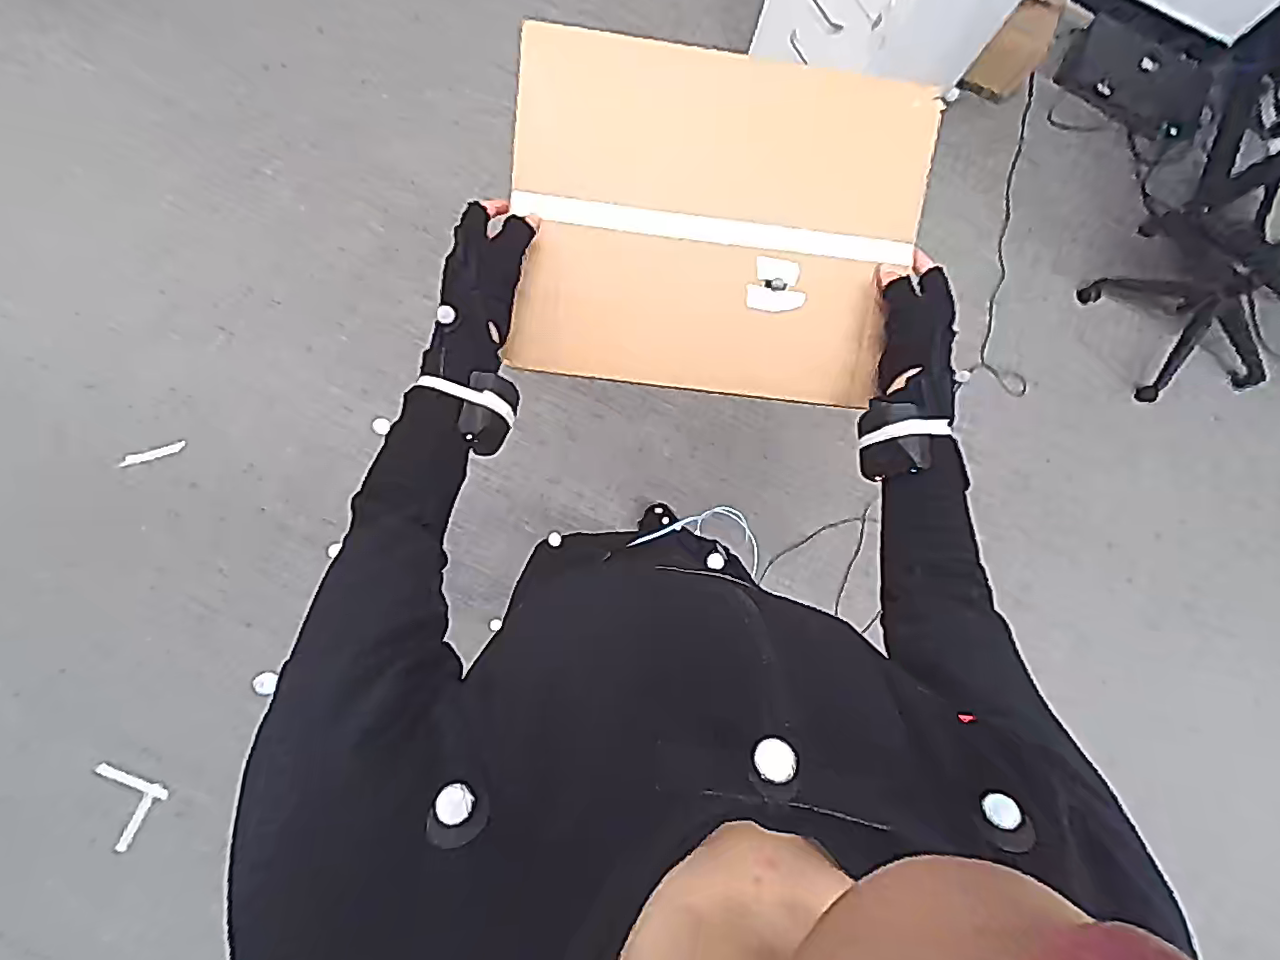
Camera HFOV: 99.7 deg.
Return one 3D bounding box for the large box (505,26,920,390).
[{"bbox_3d":[0.058,-0.290,0.692,0.408,0.320,0.320,5,101,-5],"label":"large box"}]
